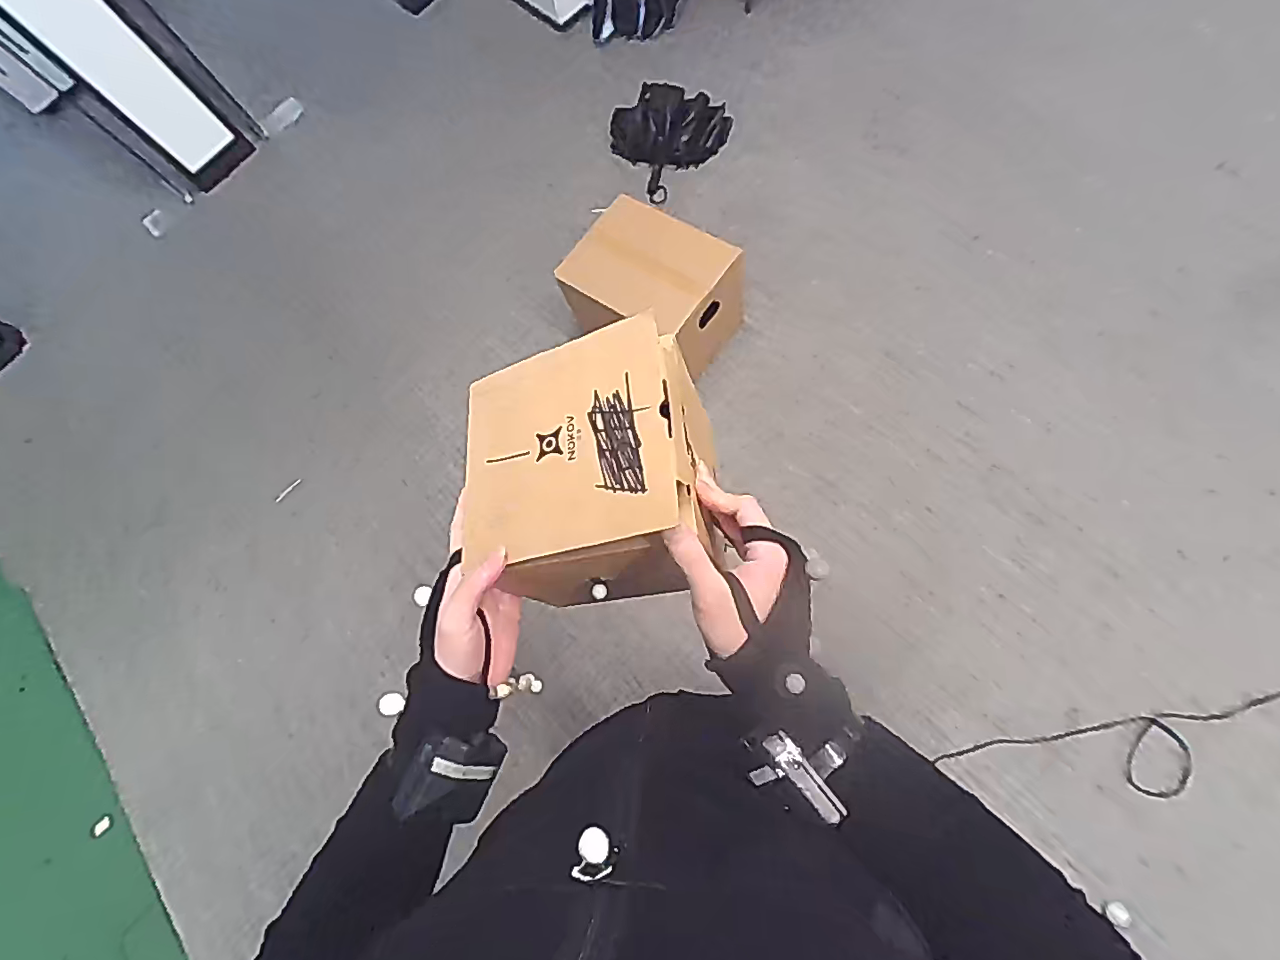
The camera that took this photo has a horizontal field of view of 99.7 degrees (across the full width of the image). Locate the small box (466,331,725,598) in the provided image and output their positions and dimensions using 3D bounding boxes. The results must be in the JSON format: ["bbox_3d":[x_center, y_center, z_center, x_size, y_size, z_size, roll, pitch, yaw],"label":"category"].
[{"bbox_3d":[-0.026,0.002,0.472,0.179,0.176,0.168,-11,67,15],"label":"small box"}]
